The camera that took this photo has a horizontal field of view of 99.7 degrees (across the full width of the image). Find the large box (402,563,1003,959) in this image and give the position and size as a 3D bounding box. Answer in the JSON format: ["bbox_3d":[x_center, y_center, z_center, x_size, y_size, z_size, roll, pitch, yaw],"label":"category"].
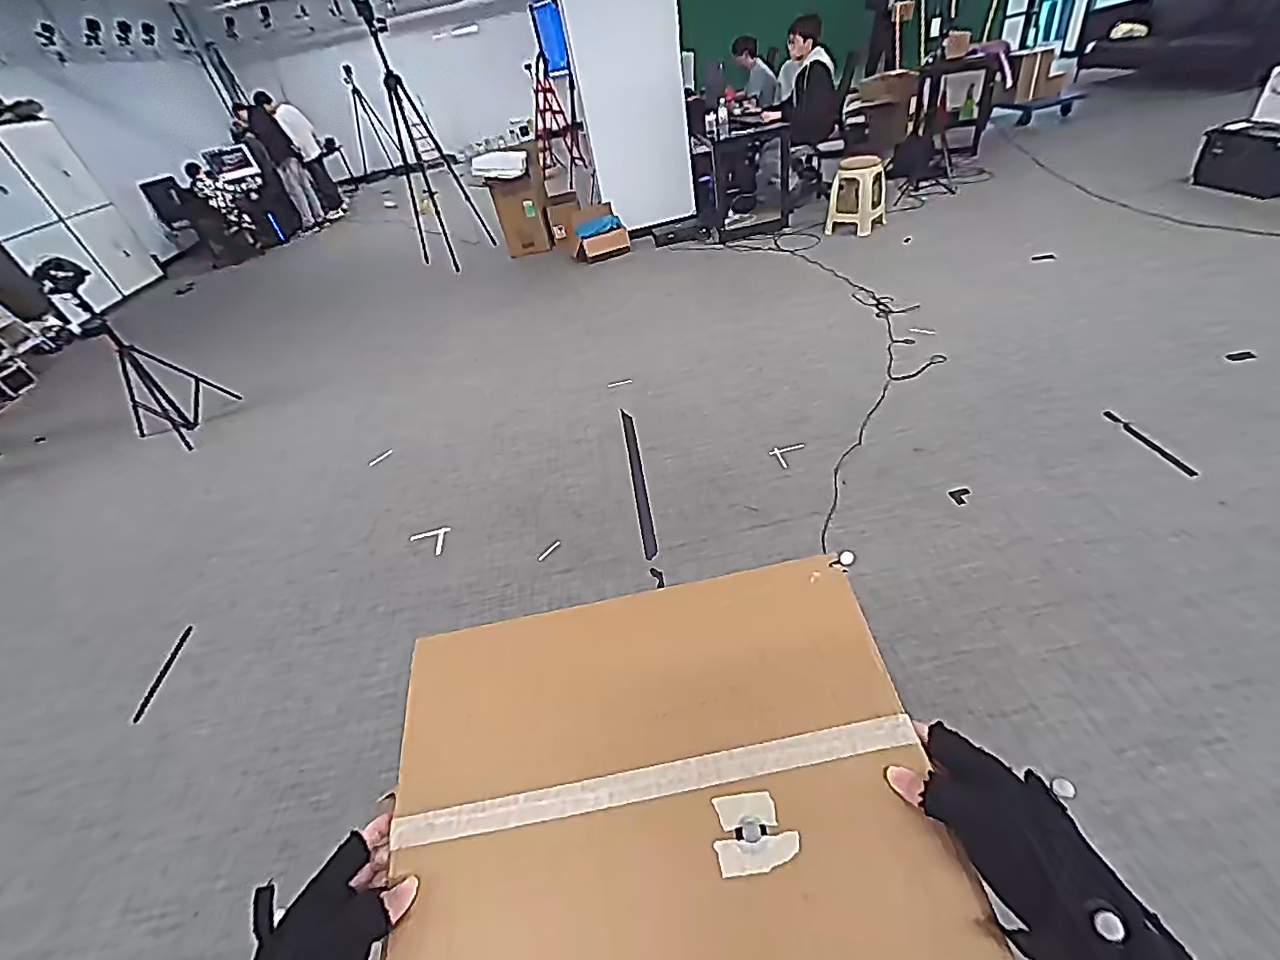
[{"bbox_3d":[0.033,0.329,0.544,0.408,0.320,0.320,-12,52,1],"label":"large box"}]
